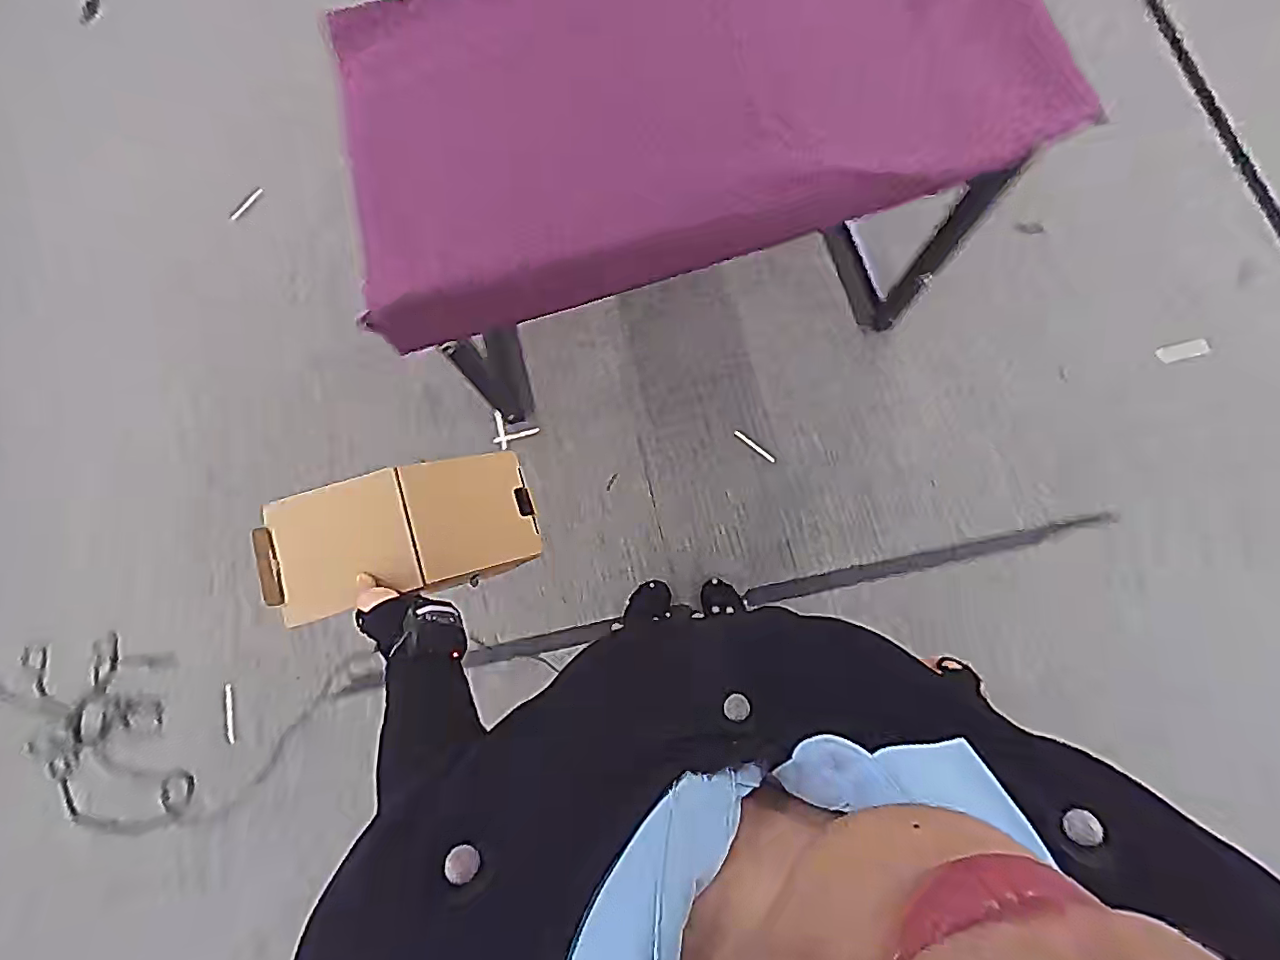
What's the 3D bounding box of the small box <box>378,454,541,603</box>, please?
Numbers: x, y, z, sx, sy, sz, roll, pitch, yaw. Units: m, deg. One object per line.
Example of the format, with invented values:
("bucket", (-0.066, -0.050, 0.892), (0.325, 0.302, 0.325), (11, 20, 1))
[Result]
("small box", (-0.277, 0.075, 0.805), (0.179, 0.176, 0.168), (-12, 80, -37))
